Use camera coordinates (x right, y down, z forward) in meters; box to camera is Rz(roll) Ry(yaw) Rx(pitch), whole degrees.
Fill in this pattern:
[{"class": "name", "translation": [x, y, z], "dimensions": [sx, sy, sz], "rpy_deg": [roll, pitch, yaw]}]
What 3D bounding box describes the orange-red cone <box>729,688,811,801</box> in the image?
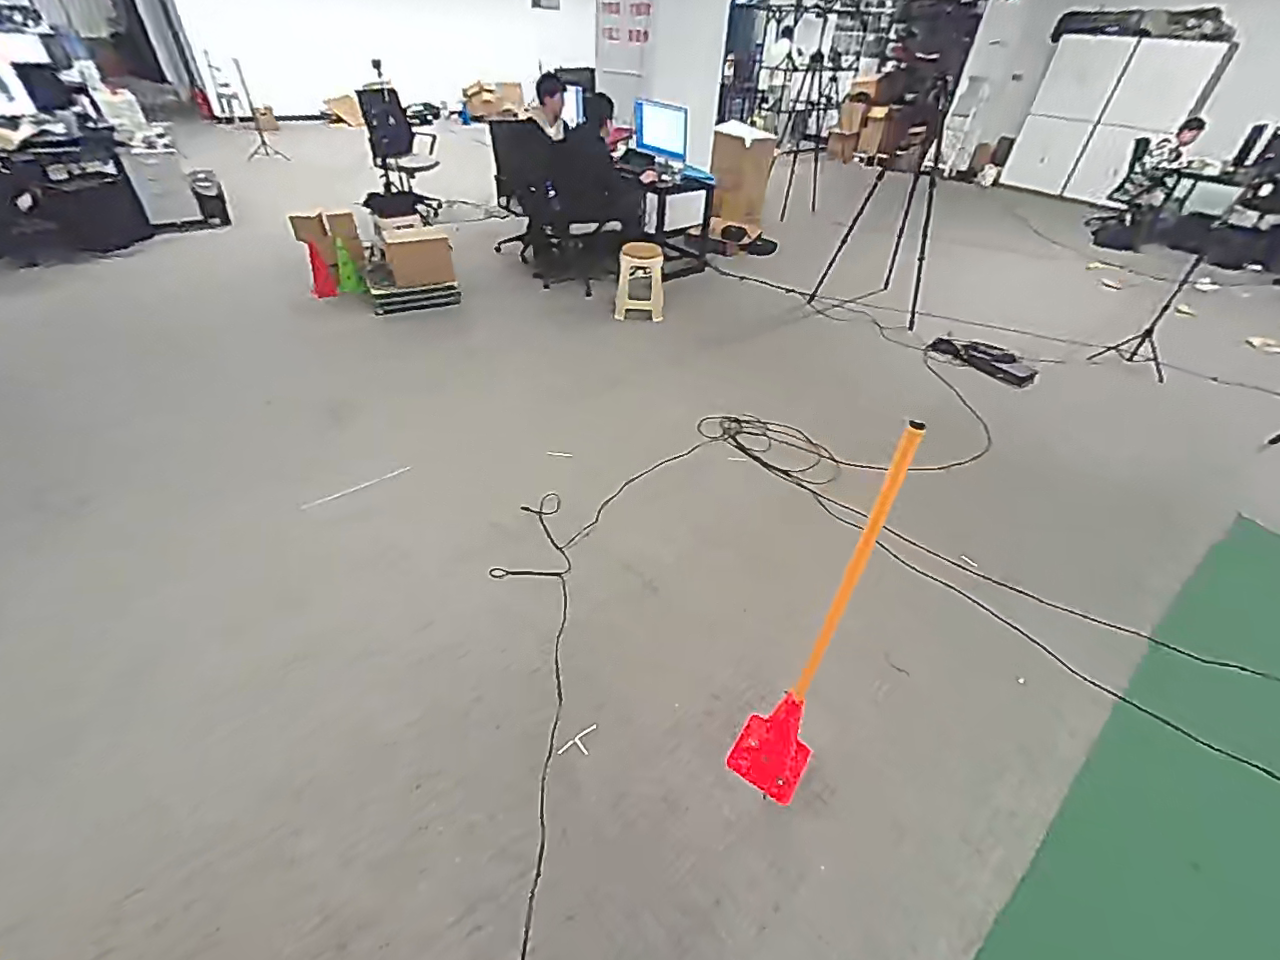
[{"class": "orange-red cone", "translation": [0.395, 0.679, 1.486], "dimensions": [0.198, 0.360, 0.199], "rpy_deg": [28, 44, 25]}]
